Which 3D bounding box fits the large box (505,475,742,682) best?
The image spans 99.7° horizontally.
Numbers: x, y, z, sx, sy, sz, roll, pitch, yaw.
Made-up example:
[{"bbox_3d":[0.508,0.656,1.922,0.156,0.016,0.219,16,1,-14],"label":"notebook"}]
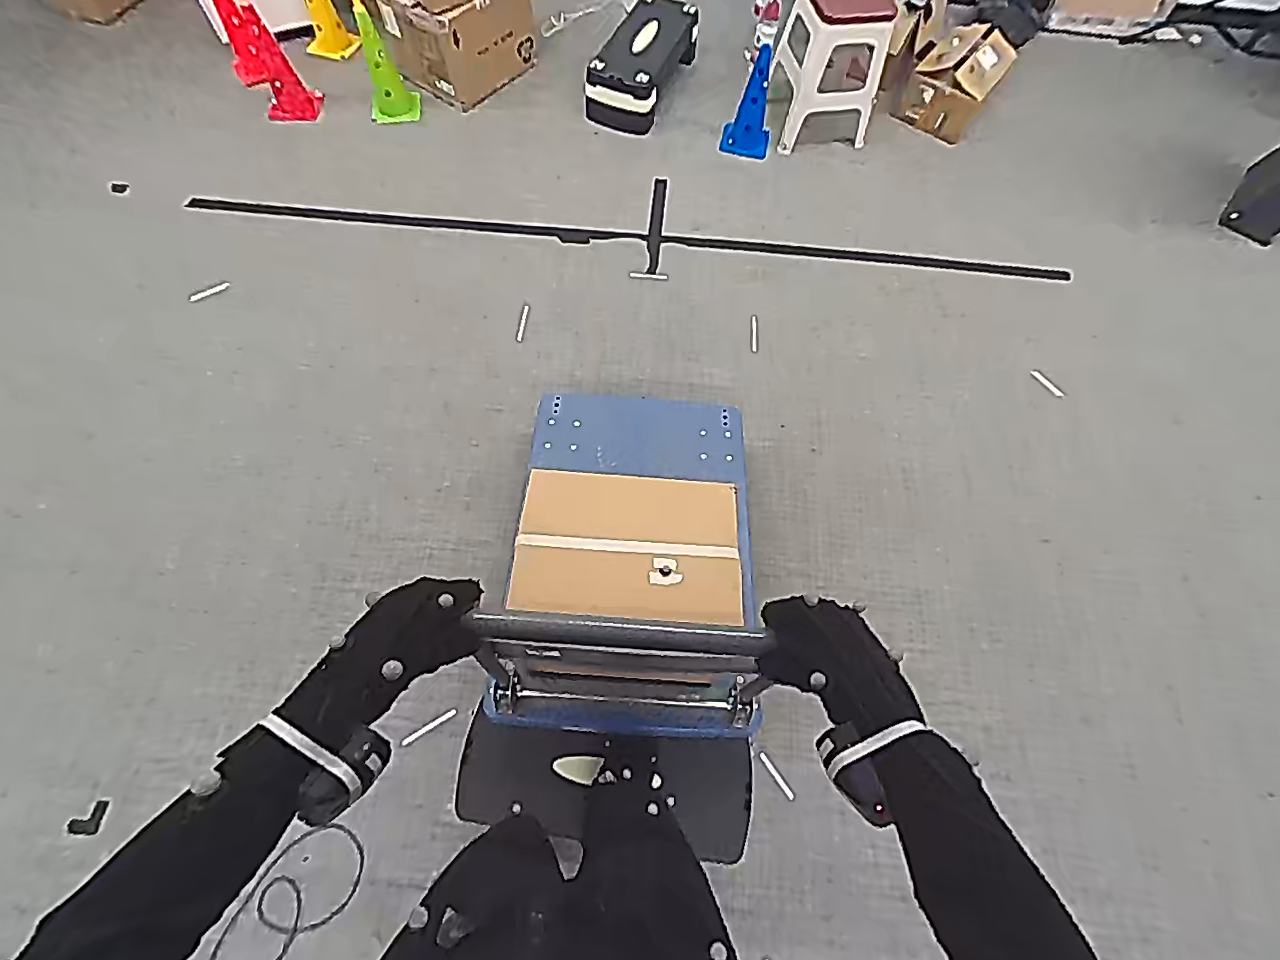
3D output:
[{"bbox_3d":[-0.033,0.211,1.100,0.408,0.320,0.320,5,57,-2],"label":"large box"}]
